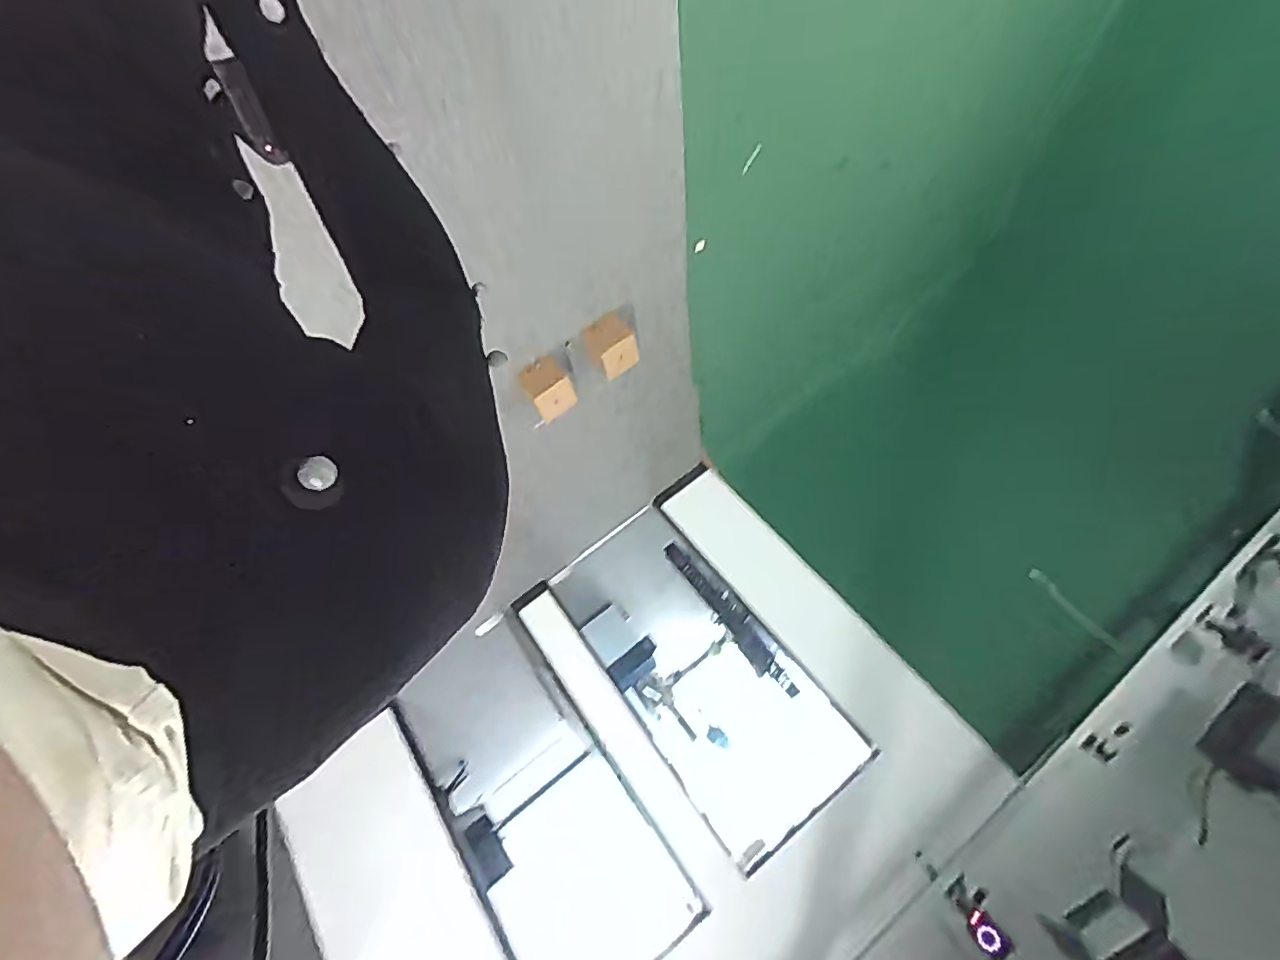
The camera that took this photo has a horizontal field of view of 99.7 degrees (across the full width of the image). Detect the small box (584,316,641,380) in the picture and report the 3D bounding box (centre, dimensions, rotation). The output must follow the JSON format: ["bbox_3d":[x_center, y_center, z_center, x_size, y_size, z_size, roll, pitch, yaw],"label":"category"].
[{"bbox_3d":[-0.119,-0.567,2.293,0.168,0.176,0.179,-36,153,-10],"label":"small box"}]

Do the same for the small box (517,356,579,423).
[{"bbox_3d":[-0.381,-0.377,2.235,0.168,0.176,0.179,-36,153,-11],"label":"small box"}]
